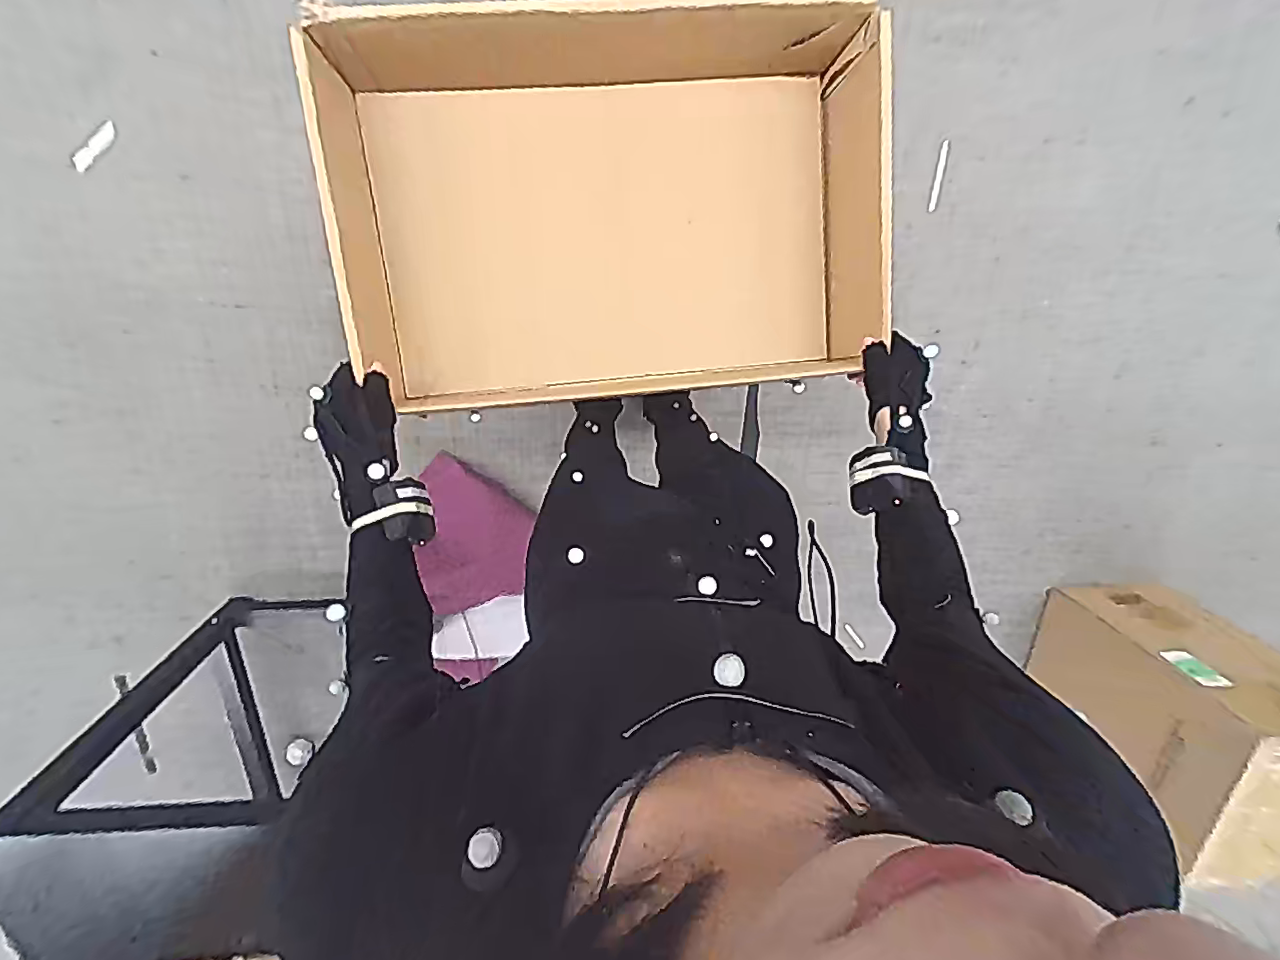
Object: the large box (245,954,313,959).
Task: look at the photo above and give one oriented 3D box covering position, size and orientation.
[{"bbox_3d":[-0.764,1.159,0.963,0.320,0.320,0.408,-2,110,-5],"label":"large box"}]
